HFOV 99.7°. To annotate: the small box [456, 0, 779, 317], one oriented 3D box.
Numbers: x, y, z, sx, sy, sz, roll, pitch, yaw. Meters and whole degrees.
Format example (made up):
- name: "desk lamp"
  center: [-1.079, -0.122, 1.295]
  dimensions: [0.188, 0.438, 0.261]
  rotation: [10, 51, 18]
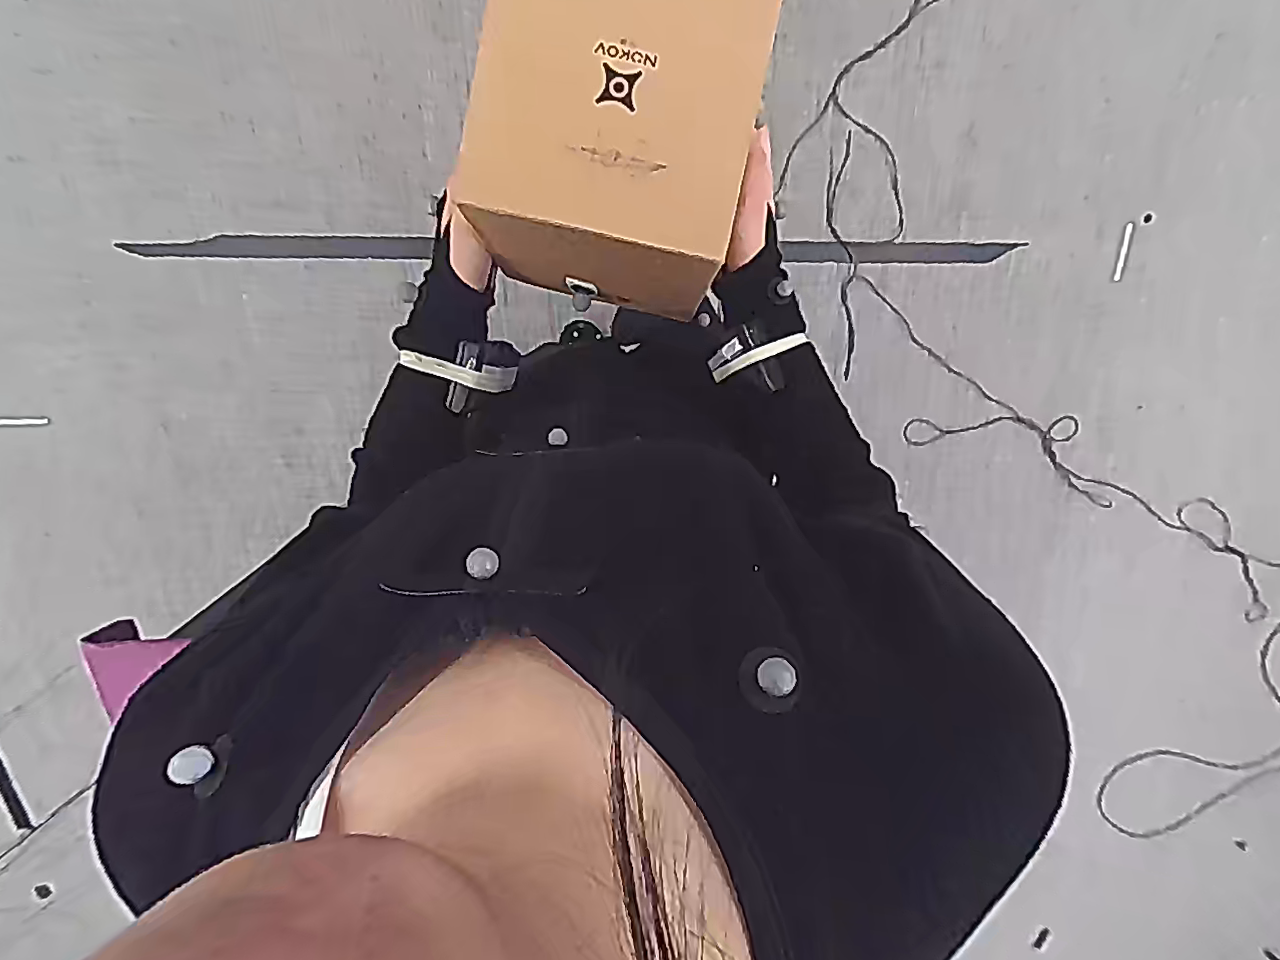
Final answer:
- name: "small box"
  center: [-0.015, -0.238, 0.397]
  dimensions: [0.168, 0.176, 0.179]
  rotation: [12, 94, -2]
